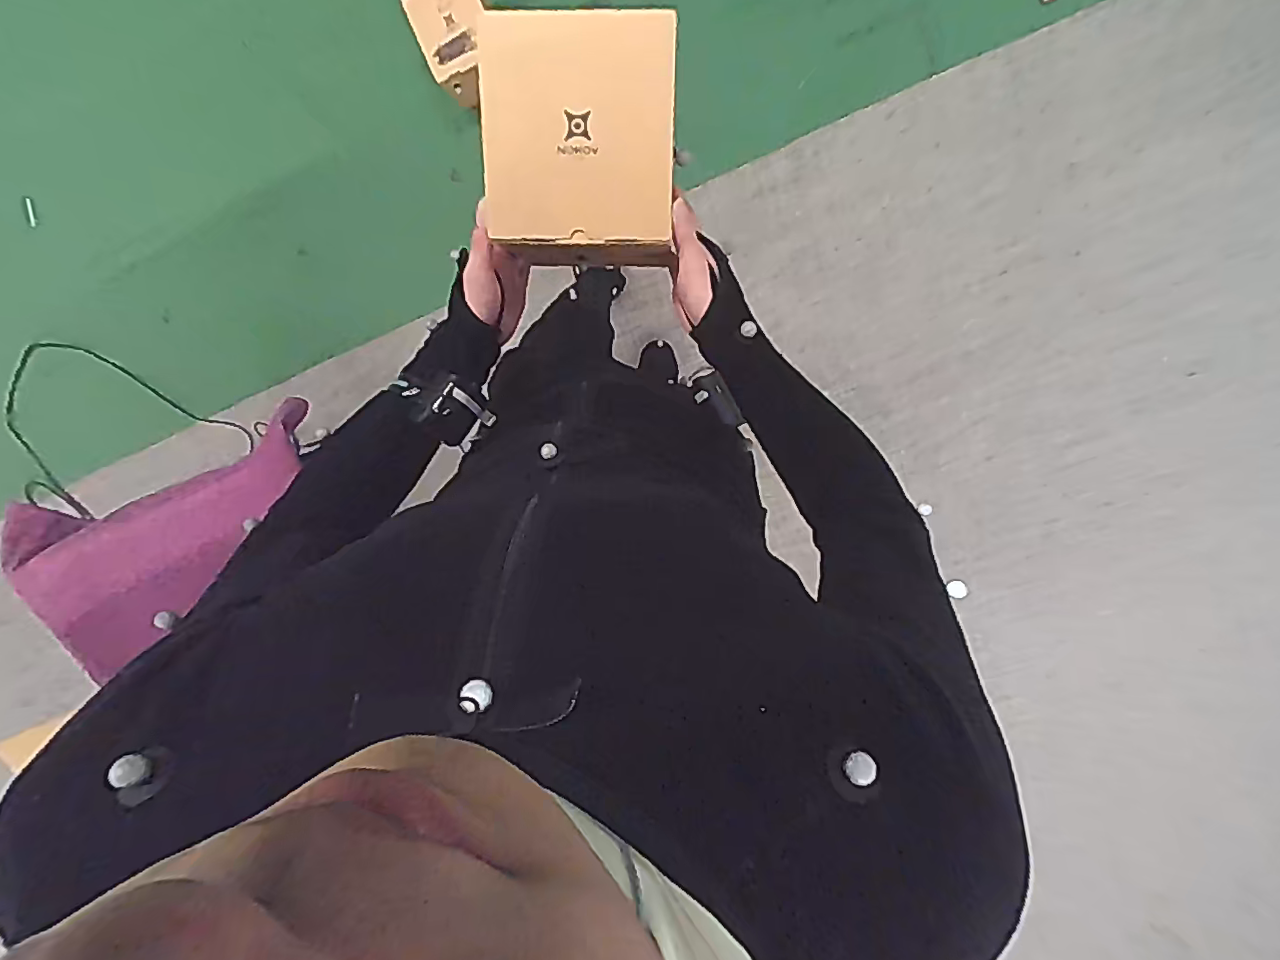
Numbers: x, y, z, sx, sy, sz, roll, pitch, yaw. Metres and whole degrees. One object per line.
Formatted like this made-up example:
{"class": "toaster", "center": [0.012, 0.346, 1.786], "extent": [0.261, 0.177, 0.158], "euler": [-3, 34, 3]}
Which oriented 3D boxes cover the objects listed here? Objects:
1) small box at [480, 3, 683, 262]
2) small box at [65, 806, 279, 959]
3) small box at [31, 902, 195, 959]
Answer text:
{"class": "small box", "center": [-0.048, -0.317, 0.530], "extent": [0.168, 0.176, 0.179], "euler": [1, 107, 2]}
{"class": "small box", "center": [-0.731, 0.669, 0.874], "extent": [0.179, 0.176, 0.168], "euler": [-24, 102, 12]}
{"class": "small box", "center": [-0.747, 0.716, 0.717], "extent": [0.179, 0.176, 0.168], "euler": [-24, 102, 10]}
